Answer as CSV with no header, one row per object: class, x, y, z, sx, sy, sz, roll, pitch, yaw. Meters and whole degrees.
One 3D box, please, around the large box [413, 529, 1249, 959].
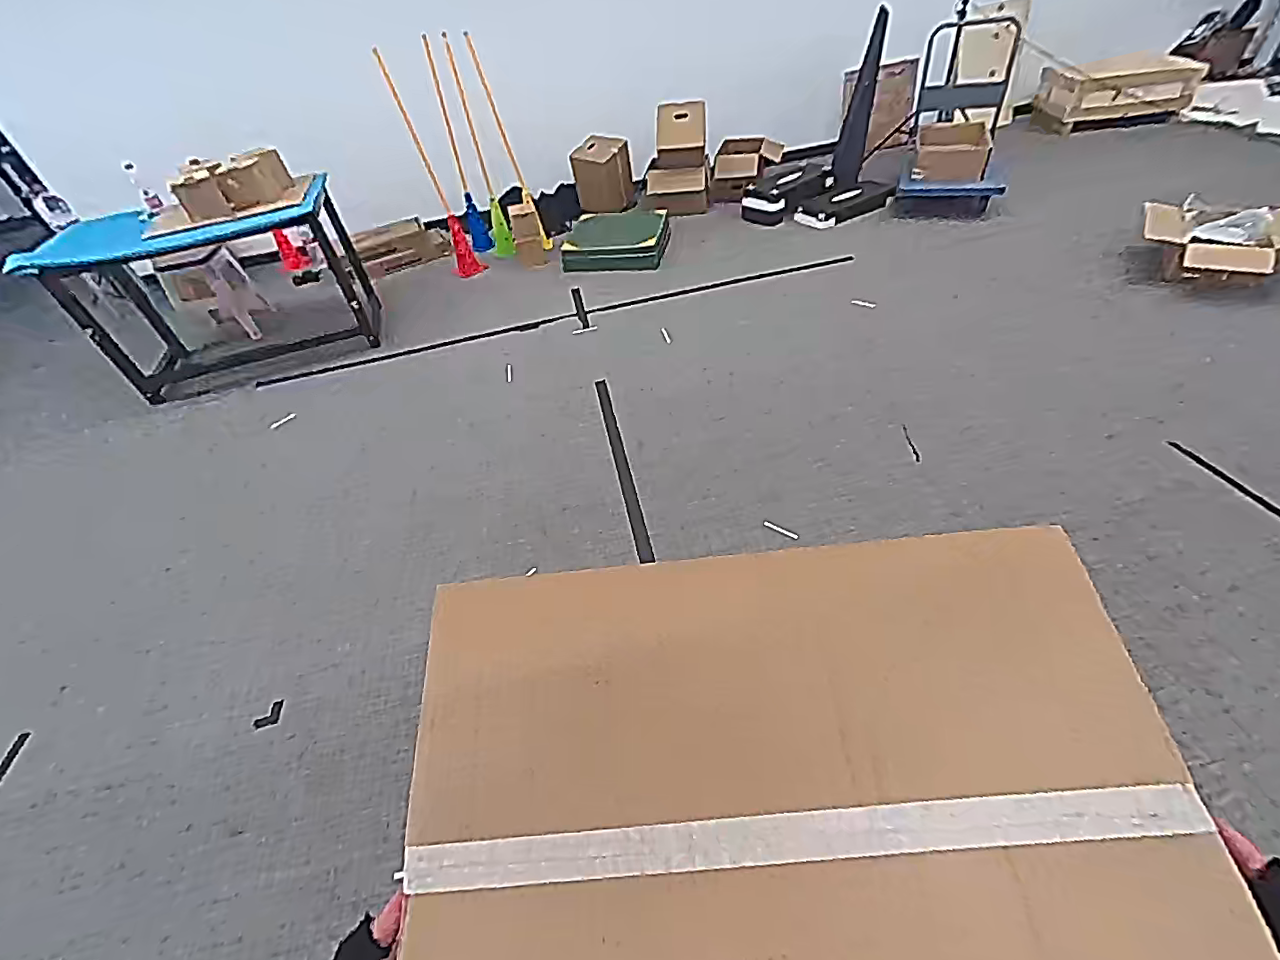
large box,0.090,0.261,0.417,0.408,0.320,0.320,-6,61,2
